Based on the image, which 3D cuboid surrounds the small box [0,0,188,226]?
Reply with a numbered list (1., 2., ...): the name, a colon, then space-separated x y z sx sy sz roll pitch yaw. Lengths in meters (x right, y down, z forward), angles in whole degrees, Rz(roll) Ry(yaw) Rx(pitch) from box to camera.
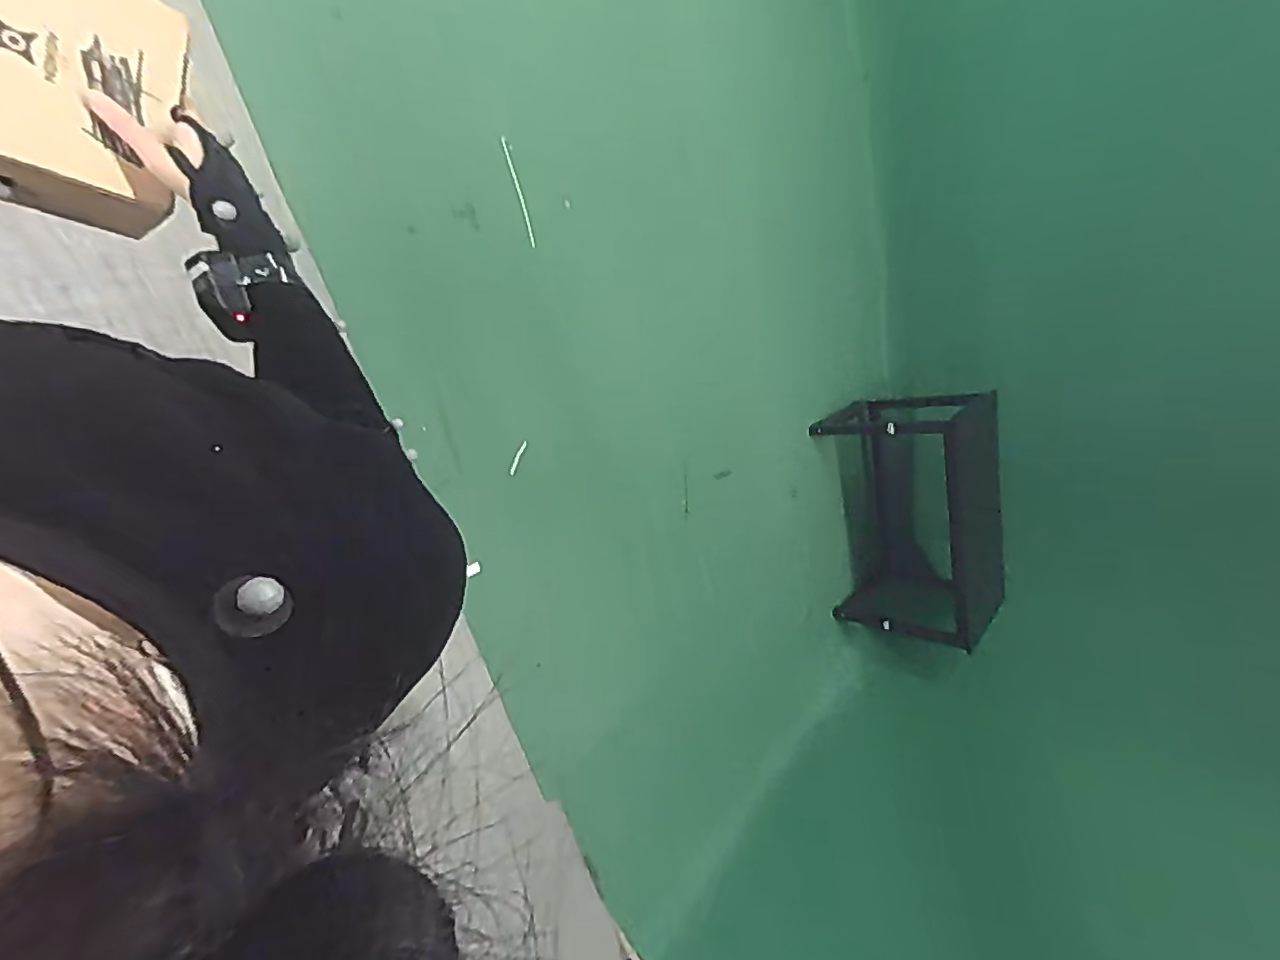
1. small box: -0.510 -0.328 0.443 0.179 0.176 0.168 6 94 -50
